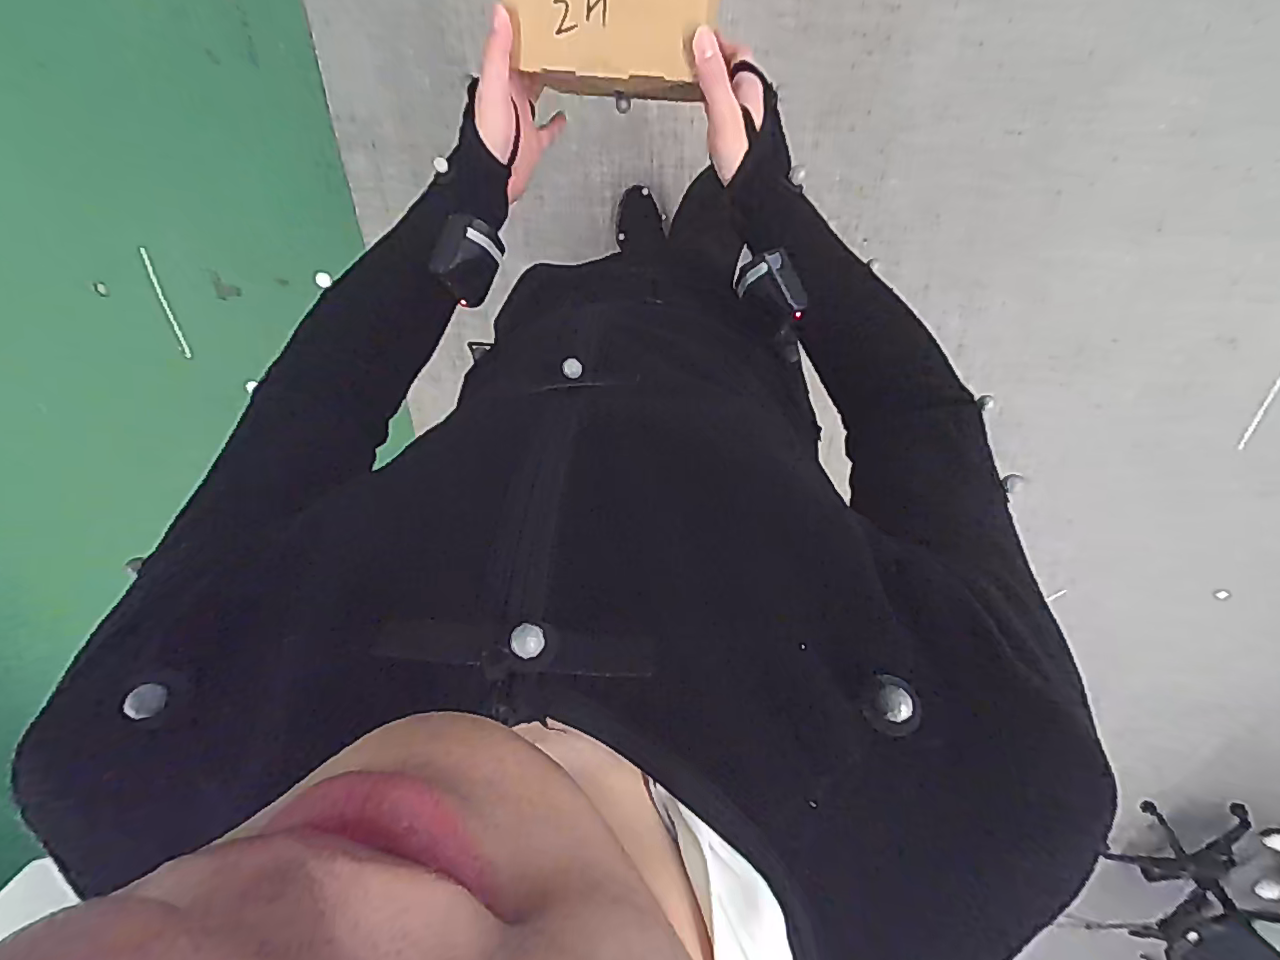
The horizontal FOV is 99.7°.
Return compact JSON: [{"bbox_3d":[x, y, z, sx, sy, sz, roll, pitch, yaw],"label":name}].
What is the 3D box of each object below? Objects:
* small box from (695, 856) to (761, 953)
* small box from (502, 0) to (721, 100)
[{"bbox_3d":[0.248,1.230,1.574,0.168,0.176,0.179,4,121,3],"label":"small box"},{"bbox_3d":[-0.013,-0.451,0.467,0.168,0.176,0.179,8,120,6],"label":"small box"}]
